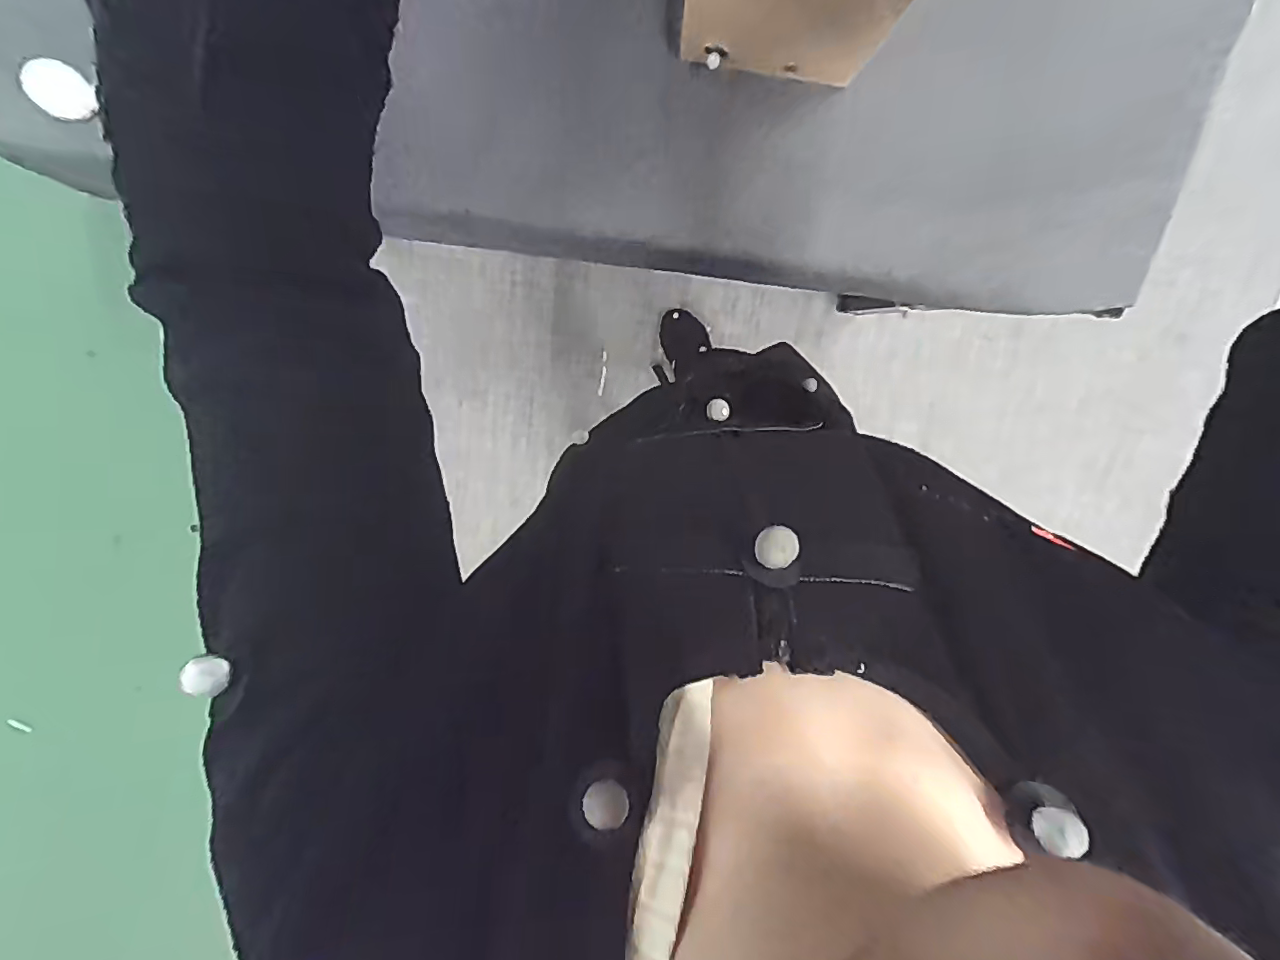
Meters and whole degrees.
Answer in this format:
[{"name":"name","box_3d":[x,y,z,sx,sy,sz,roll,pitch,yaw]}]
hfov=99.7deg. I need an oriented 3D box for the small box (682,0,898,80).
[{"name":"small box","box_3d":[0.127,-0.448,0.415,0.168,0.176,0.179,9,105,-1]}]
